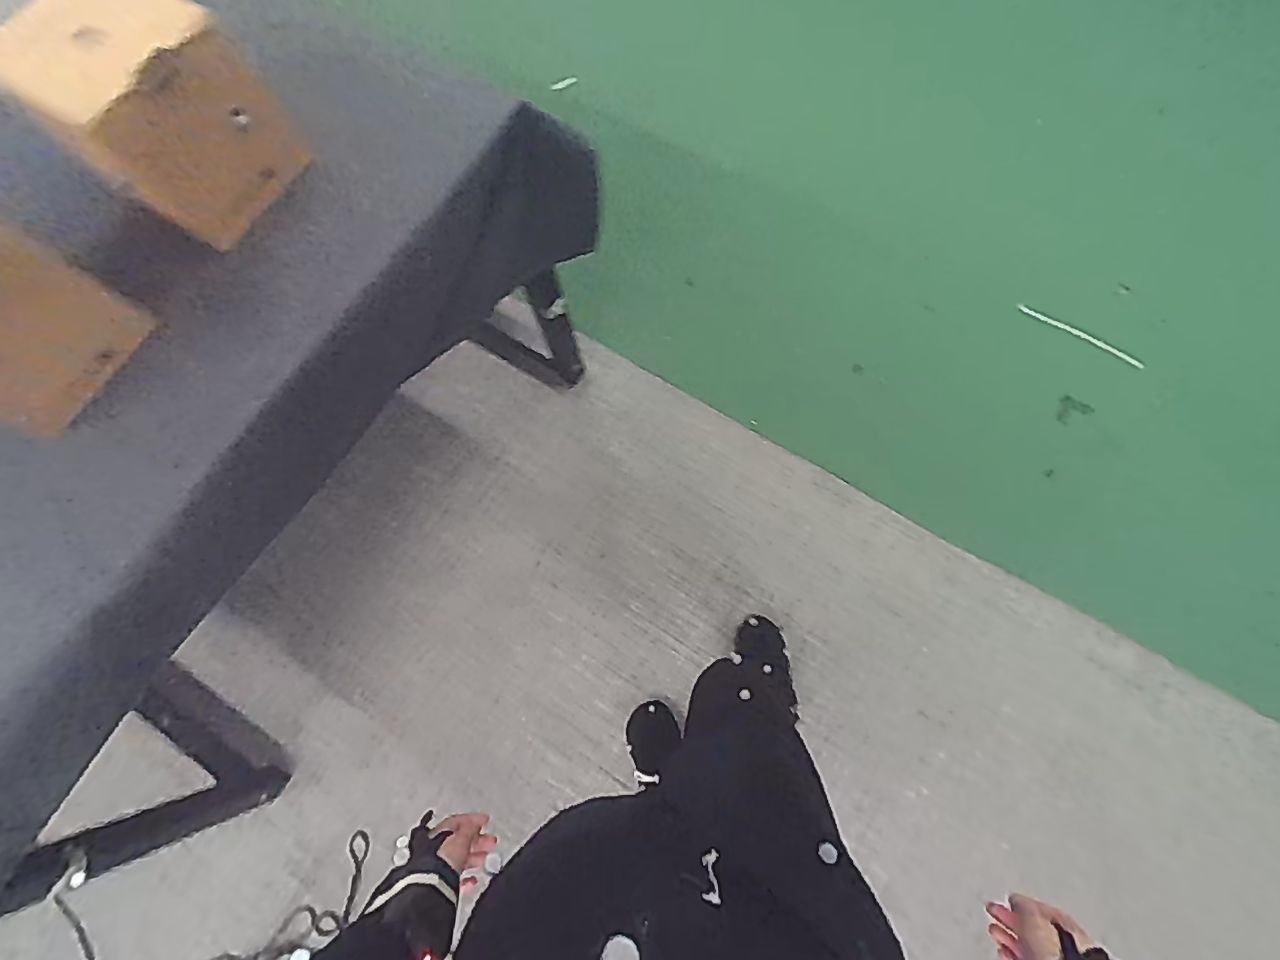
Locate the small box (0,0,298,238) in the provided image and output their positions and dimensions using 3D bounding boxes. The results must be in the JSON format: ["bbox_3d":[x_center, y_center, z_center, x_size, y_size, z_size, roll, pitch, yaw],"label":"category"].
[{"bbox_3d":[-0.530,-0.400,0.589,0.179,0.176,0.168,29,77,11],"label":"small box"}]
